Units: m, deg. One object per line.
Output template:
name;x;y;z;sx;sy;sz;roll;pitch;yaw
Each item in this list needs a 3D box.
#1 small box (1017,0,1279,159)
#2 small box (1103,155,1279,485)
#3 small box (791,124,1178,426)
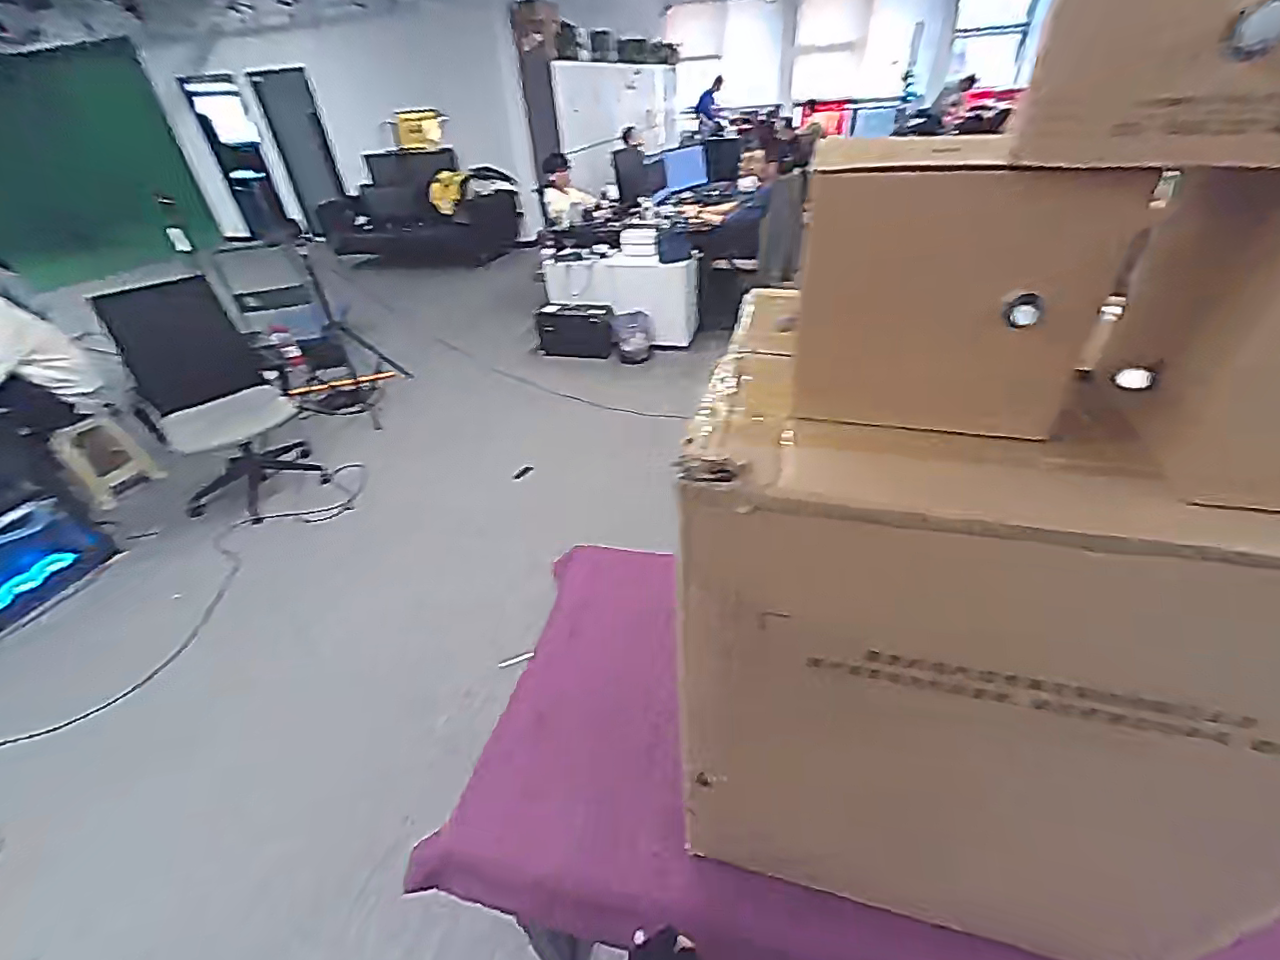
small box;0.302;-0.259;0.257;0.168;0.176;0.179;16;41;26
small box;0.411;-0.098;0.302;0.168;0.176;0.179;7;37;18
small box;0.215;-0.153;0.399;0.179;0.176;0.168;6;37;15
